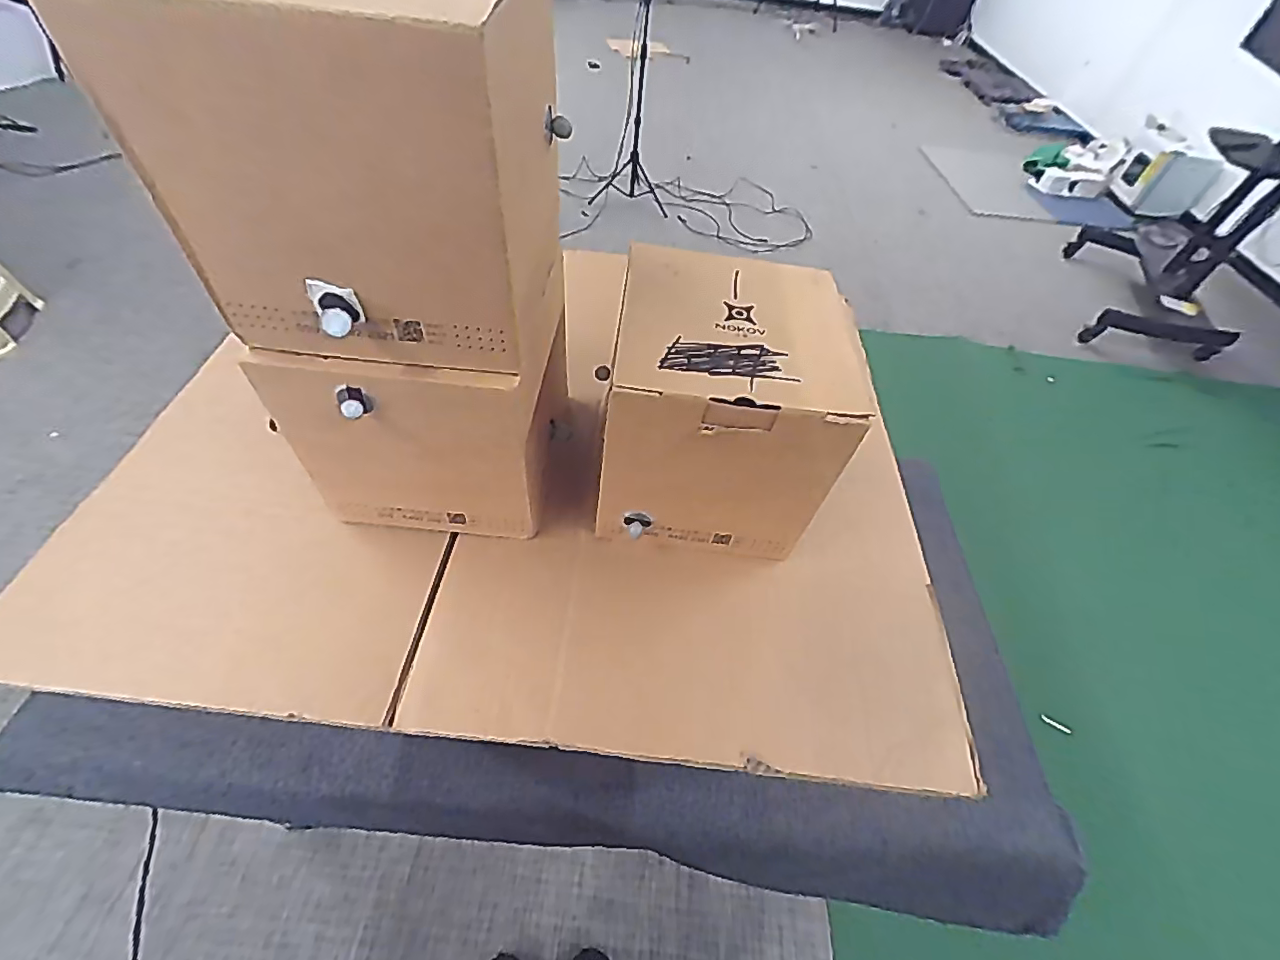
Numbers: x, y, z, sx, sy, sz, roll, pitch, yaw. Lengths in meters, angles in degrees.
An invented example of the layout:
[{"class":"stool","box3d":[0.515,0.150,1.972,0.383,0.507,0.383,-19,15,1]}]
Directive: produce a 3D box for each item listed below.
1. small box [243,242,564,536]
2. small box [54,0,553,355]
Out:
[{"class":"small box","box3d":[-0.156,-0.078,0.435,0.168,0.176,0.179,5,51,0]},{"class":"small box","box3d":[-0.142,-0.195,0.301,0.168,0.176,0.179,4,53,-2]}]
